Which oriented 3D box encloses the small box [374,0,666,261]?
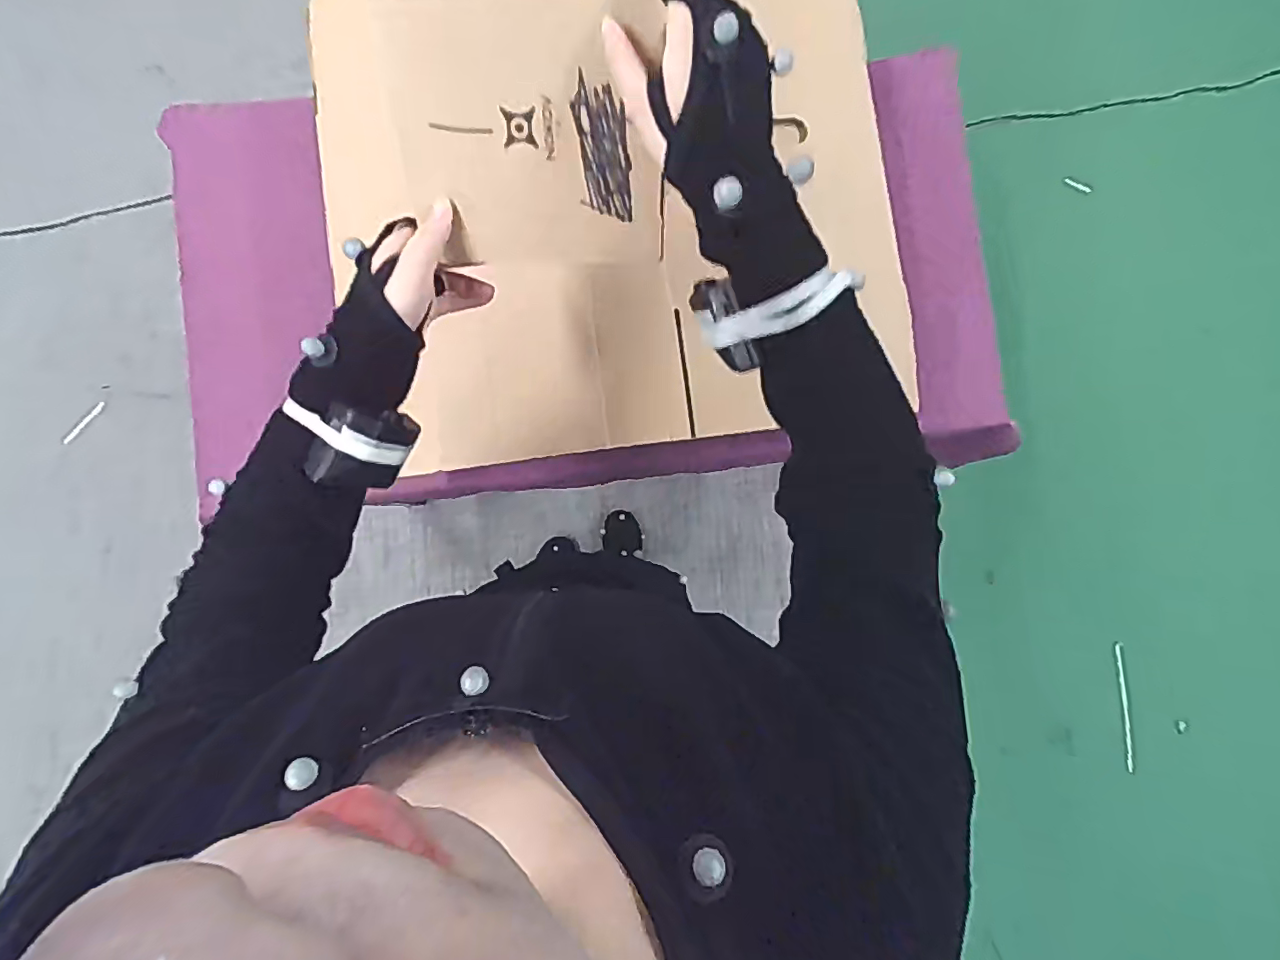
[{"bbox_3d":[-0.074,-0.277,0.426,0.179,0.176,0.168,0,123,-1],"label":"small box"}]
